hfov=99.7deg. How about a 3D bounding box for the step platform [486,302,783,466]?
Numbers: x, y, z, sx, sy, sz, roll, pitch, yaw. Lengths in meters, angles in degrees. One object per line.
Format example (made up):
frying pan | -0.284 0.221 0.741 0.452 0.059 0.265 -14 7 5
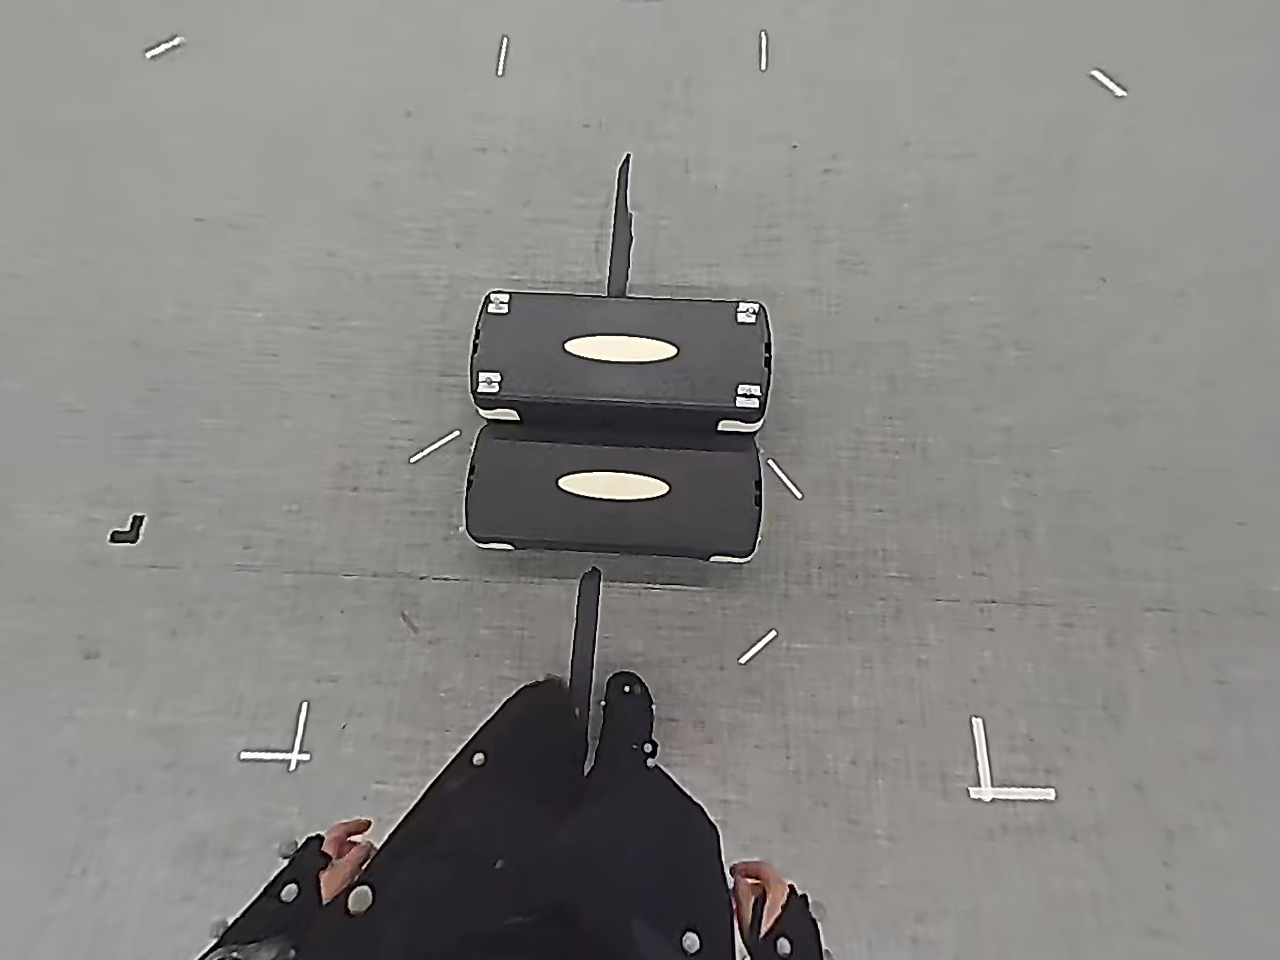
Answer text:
step platform | -0.012 -0.227 1.290 0.684 0.204 0.286 7 74 2
